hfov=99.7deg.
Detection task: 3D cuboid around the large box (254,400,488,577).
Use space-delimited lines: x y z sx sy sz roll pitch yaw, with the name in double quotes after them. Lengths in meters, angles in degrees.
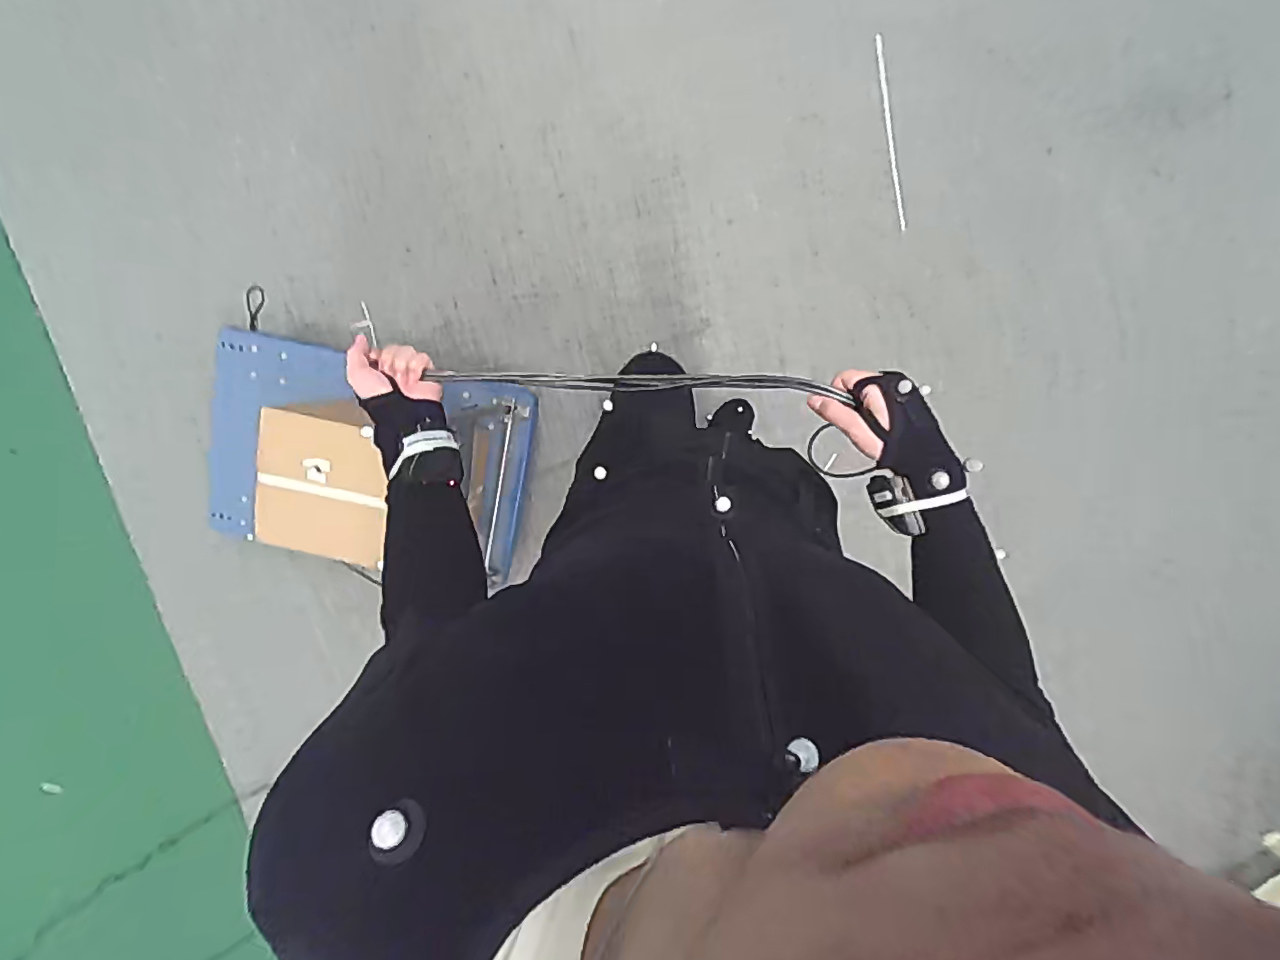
-0.628 0.001 1.316 0.408 0.320 0.320 13 101 1 "large box"
